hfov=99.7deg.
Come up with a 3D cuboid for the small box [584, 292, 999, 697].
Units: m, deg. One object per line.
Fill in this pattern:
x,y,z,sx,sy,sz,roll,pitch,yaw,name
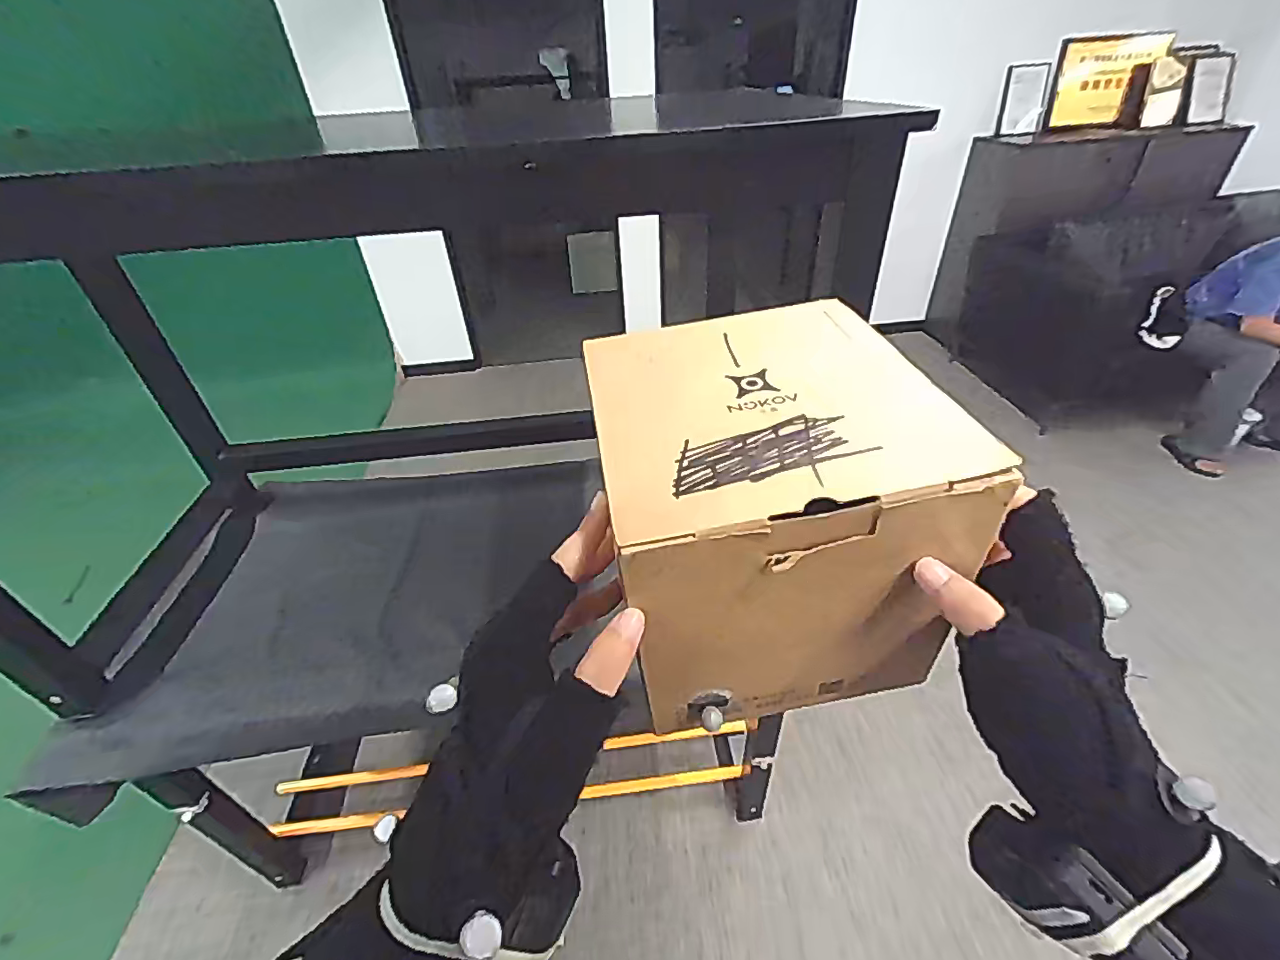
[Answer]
0.064,0.010,0.329,0.168,0.176,0.179,-10,40,-2,small box
